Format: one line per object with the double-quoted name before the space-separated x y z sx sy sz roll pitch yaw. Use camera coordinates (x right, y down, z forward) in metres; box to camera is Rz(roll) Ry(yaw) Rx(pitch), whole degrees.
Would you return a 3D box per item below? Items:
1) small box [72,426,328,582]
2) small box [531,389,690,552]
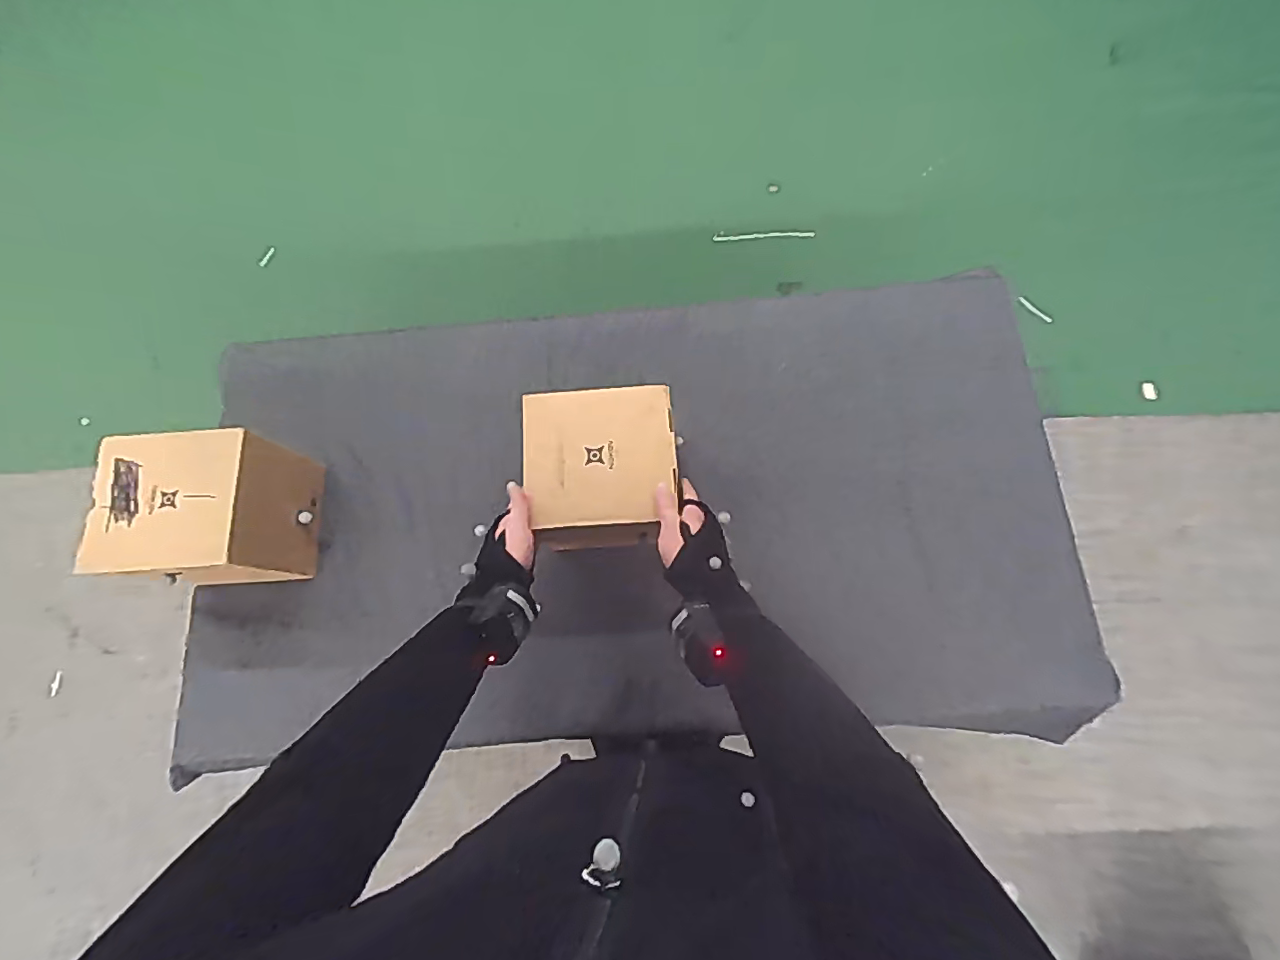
"small box" -0.537 0.039 0.688 0.179 0.176 0.168 -3 76 0
"small box" -0.034 -0.003 0.686 0.179 0.176 0.168 -4 75 2
